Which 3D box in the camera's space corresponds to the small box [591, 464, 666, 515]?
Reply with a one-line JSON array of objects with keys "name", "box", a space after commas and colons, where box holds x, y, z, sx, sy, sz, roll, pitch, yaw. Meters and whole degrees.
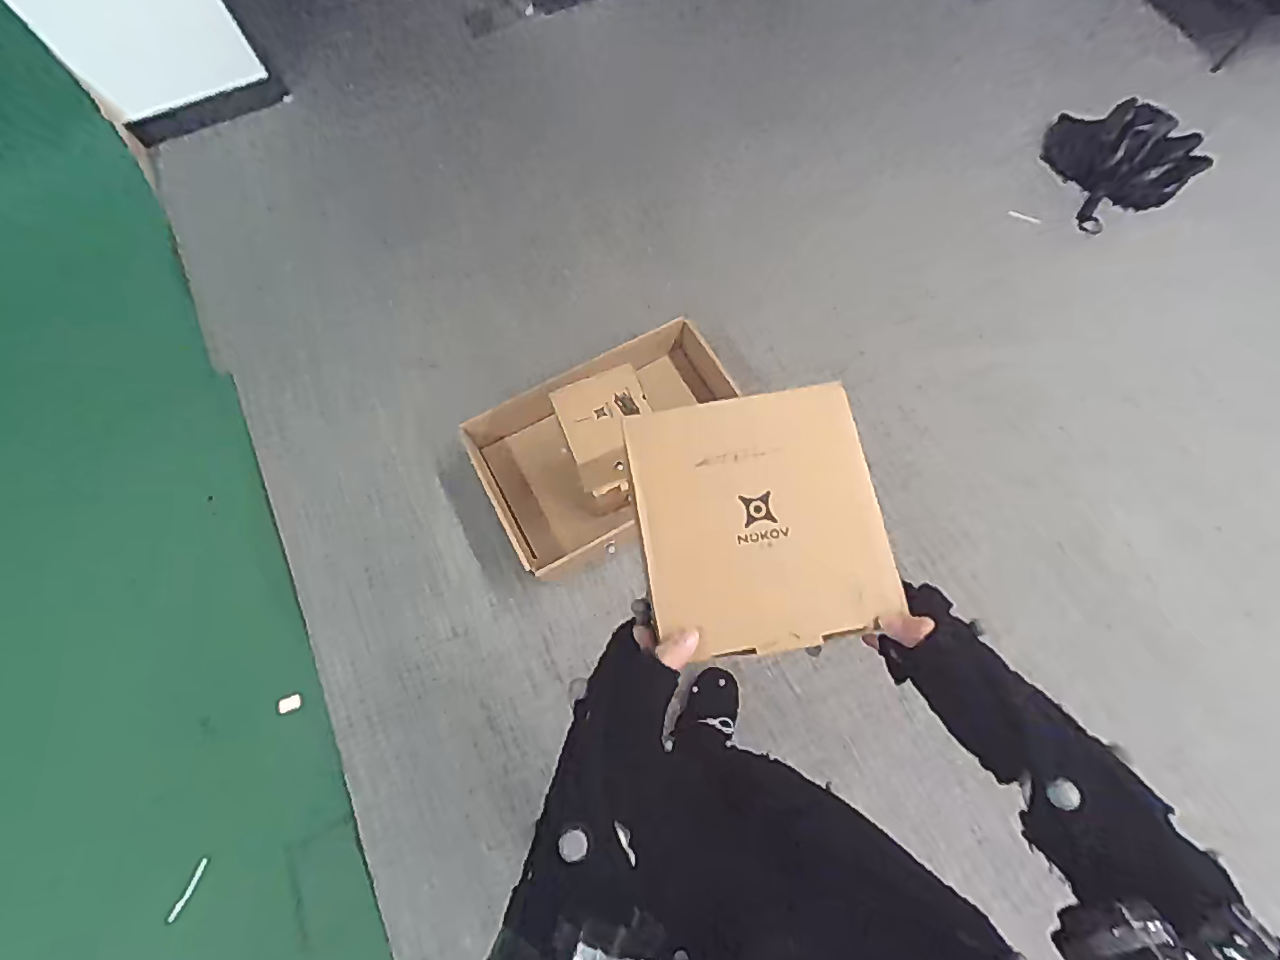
[{"name": "small box", "box": [-0.047, -0.031, 1.266, 0.168, 0.176, 0.179, -22, 72, -7]}]

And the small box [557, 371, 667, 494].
[{"name": "small box", "box": [-0.055, -0.092, 1.113, 0.179, 0.176, 0.168, -20, 71, -6]}]
